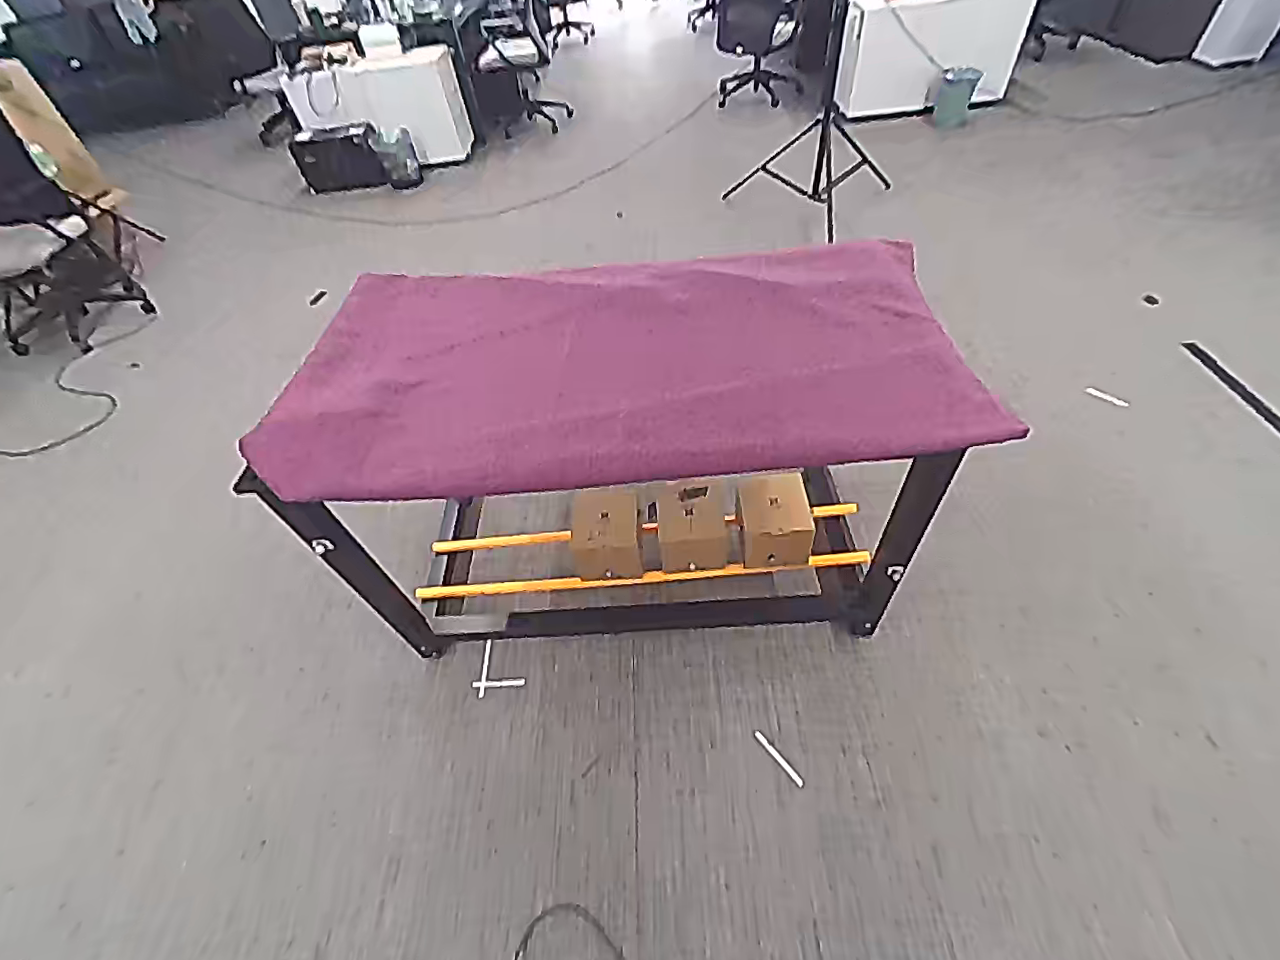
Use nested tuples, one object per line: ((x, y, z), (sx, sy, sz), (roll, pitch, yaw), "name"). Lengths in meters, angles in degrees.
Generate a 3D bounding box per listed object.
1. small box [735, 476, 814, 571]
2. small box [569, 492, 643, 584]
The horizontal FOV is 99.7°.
((0.336, 0.113, 1.386), (0.168, 0.176, 0.179), (-6, 50, 4), "small box")
((-0.083, 0.153, 1.409), (0.168, 0.176, 0.179), (-3, 51, 4), "small box")
